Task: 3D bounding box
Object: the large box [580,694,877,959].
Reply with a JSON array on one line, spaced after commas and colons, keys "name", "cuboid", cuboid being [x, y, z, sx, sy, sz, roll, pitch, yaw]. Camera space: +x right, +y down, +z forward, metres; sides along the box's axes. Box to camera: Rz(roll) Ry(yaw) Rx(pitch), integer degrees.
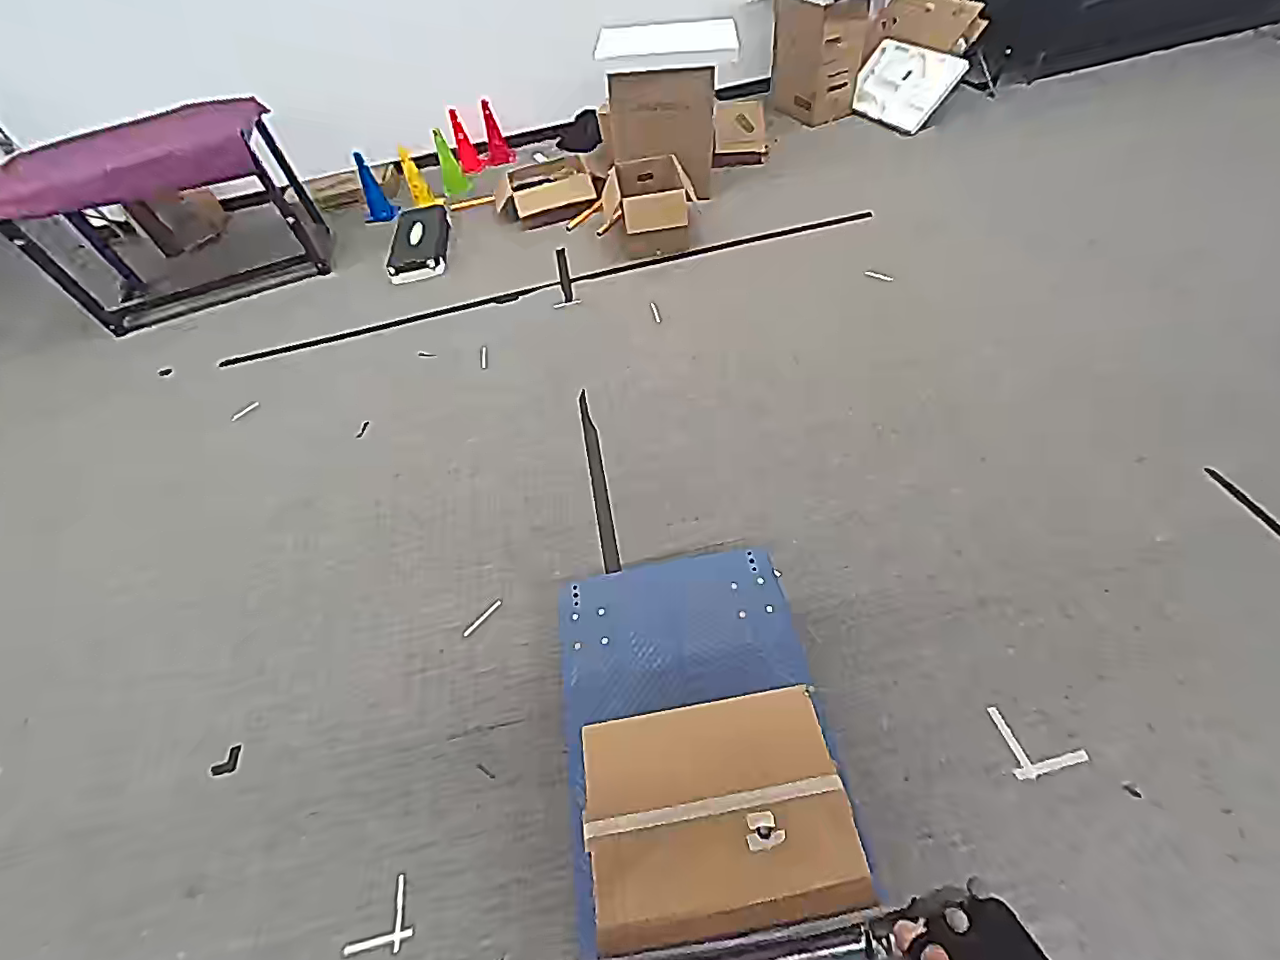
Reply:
[{"name": "large box", "cuboid": [0.129, 0.620, 0.952, 0.408, 0.320, 0.320, -11, 51, -1]}]
